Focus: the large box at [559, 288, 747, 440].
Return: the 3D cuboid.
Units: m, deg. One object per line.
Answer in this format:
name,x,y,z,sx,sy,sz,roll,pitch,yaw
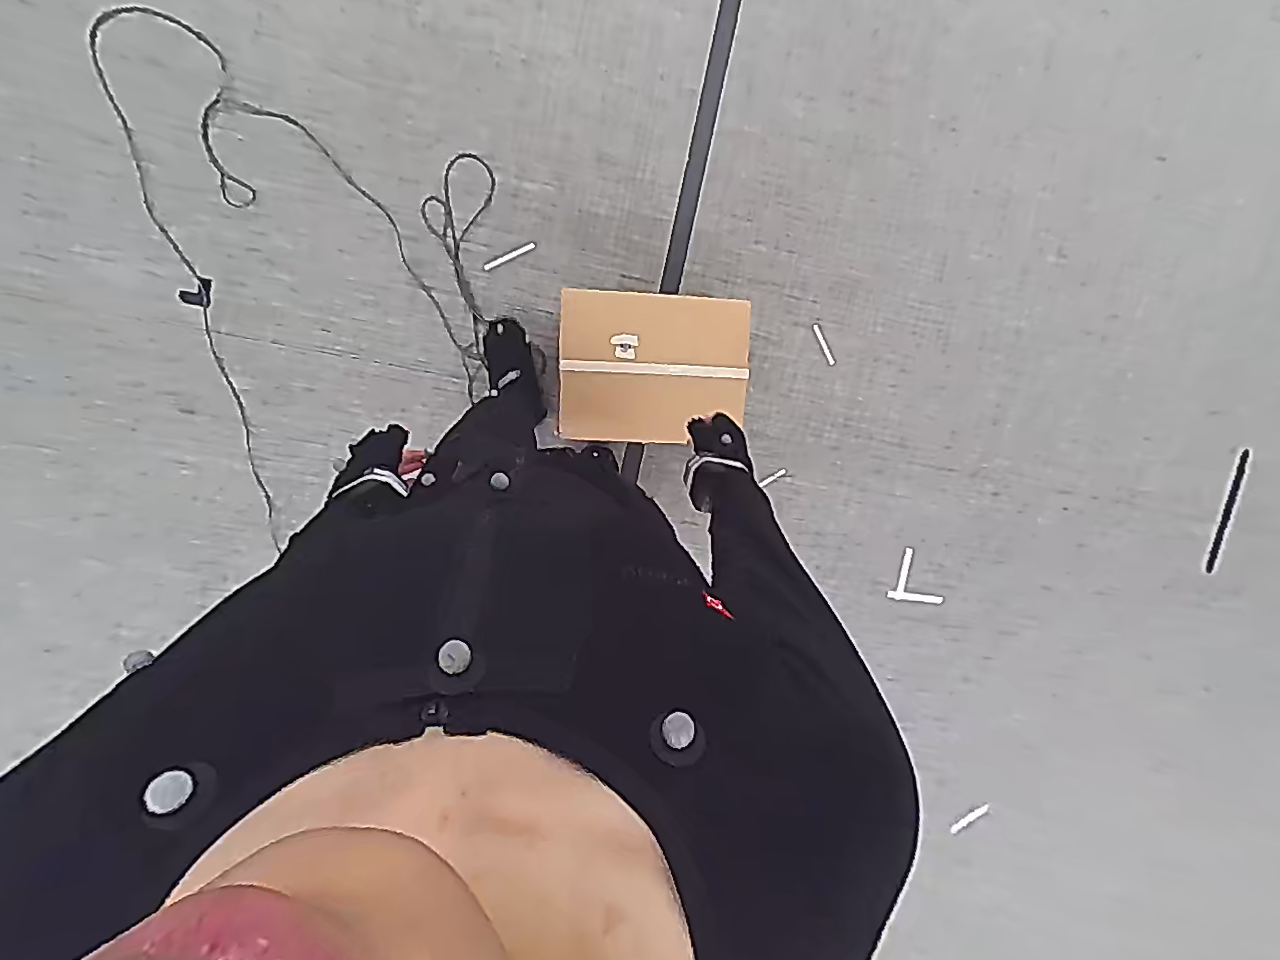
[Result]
large box,0.018,-0.269,1.304,0.408,0.320,0.320,2,99,-5
